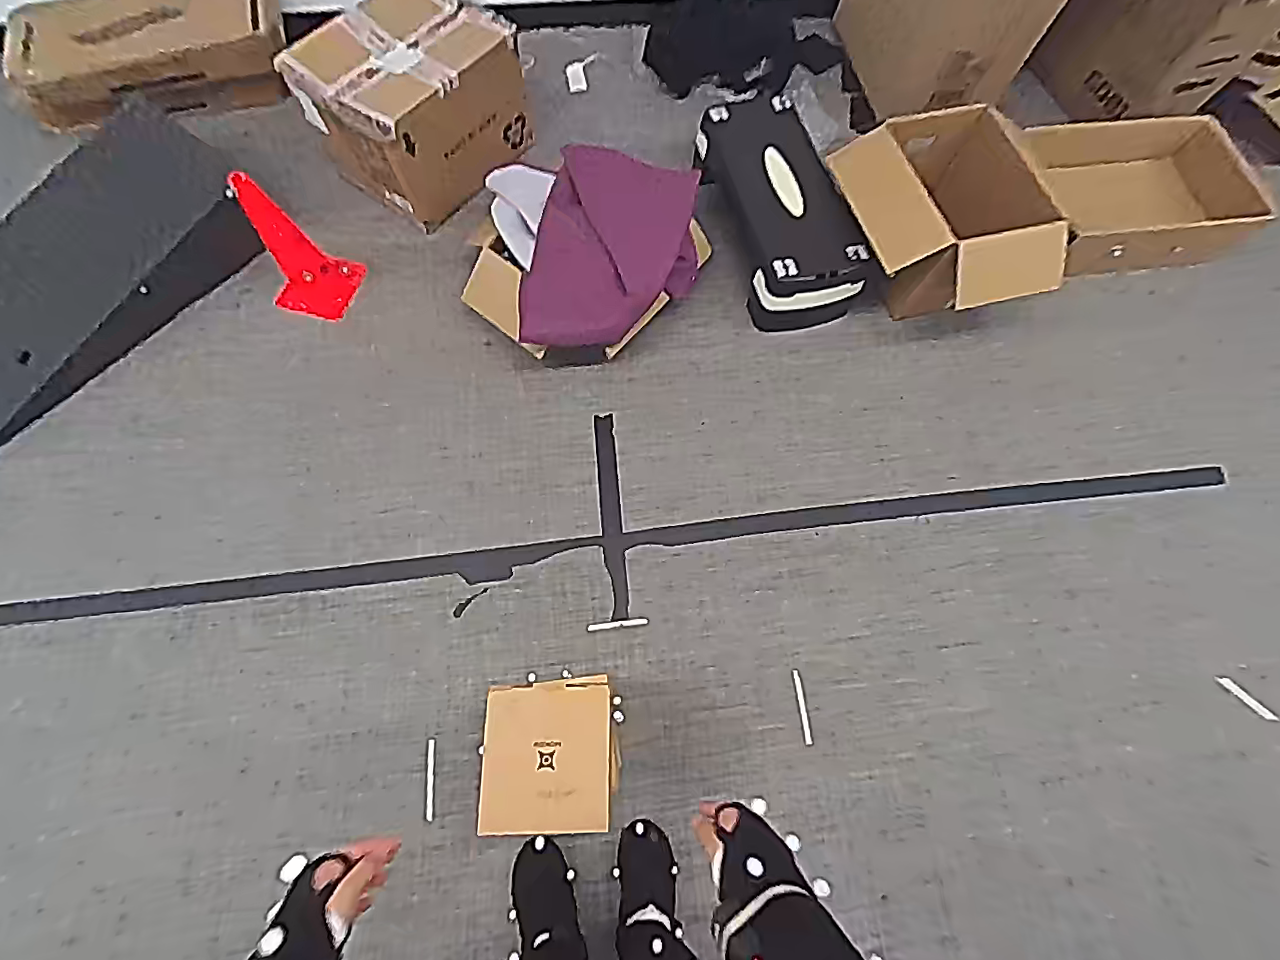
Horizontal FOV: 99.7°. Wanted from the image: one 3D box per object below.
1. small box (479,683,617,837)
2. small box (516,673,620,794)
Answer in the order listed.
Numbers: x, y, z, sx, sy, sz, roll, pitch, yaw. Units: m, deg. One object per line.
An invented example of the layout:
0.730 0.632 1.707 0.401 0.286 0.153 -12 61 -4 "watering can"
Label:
-0.118 0.381 0.765 0.168 0.176 0.179 -1 71 -1 "small box"
-0.124 0.431 0.920 0.168 0.176 0.179 -6 70 -4 "small box"
